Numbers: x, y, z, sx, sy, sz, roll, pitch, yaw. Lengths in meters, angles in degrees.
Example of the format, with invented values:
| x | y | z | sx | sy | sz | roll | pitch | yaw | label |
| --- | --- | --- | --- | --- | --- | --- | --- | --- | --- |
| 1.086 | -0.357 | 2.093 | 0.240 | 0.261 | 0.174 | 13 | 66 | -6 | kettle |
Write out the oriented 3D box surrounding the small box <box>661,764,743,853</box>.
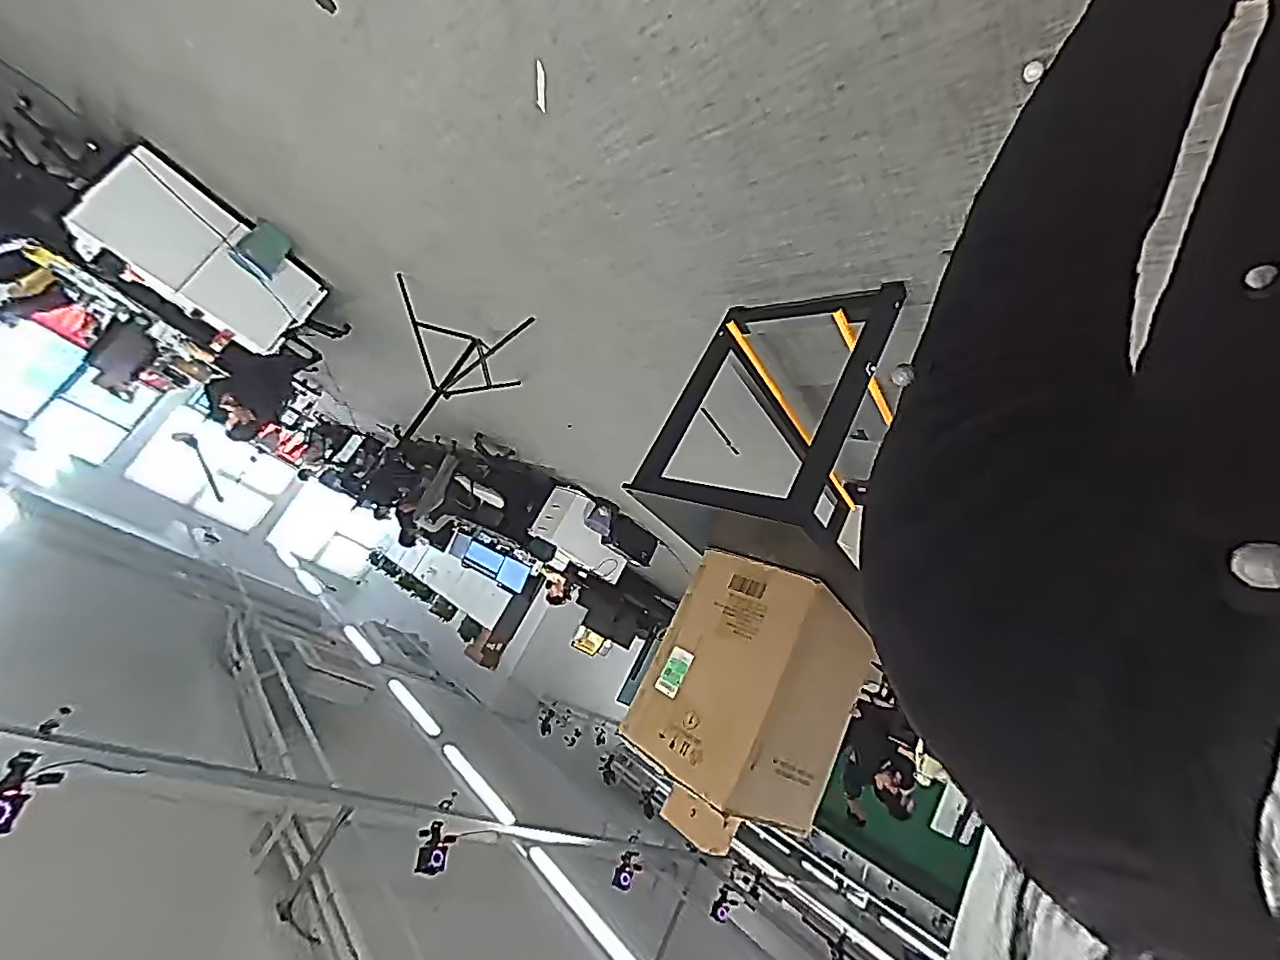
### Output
| x | y | z | sx | sy | sz | roll | pitch | yaw | label |
| --- | --- | --- | --- | --- | --- | --- | --- | --- | --- |
| 0.205 | 1.034 | 1.708 | 0.179 | 0.176 | 0.168 | 13 | 157 | 47 | small box |
